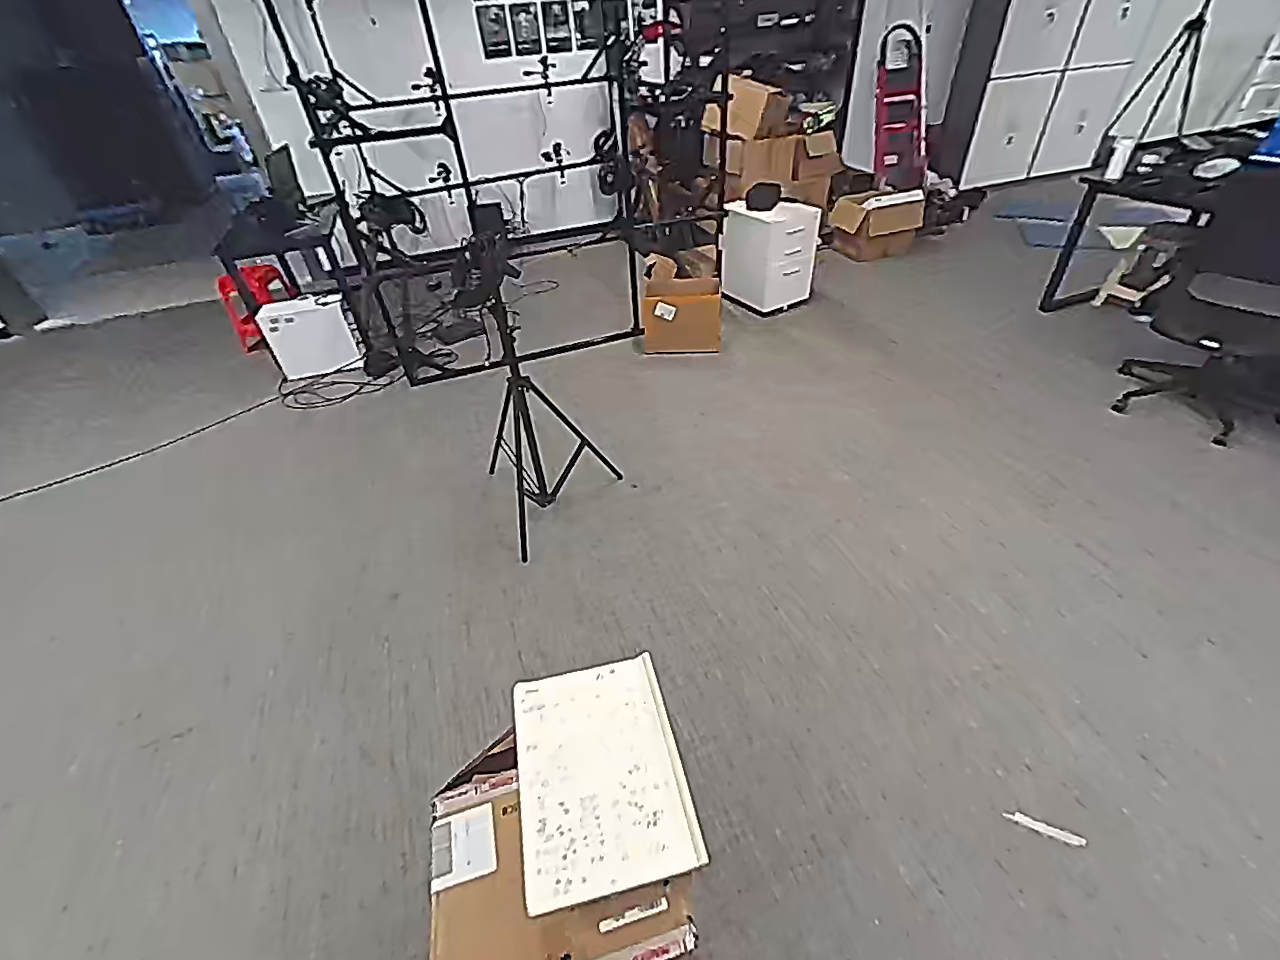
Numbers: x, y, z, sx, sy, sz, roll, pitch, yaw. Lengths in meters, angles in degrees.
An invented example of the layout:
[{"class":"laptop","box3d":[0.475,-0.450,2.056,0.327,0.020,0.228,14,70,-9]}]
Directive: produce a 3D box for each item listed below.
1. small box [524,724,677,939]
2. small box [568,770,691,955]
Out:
[{"class":"small box","box3d":[-0.056,0.460,0.712,0.168,0.176,0.179,-10,42,-10]},{"class":"small box","box3d":[-0.034,0.580,0.824,0.179,0.176,0.168,-13,41,-12]}]
